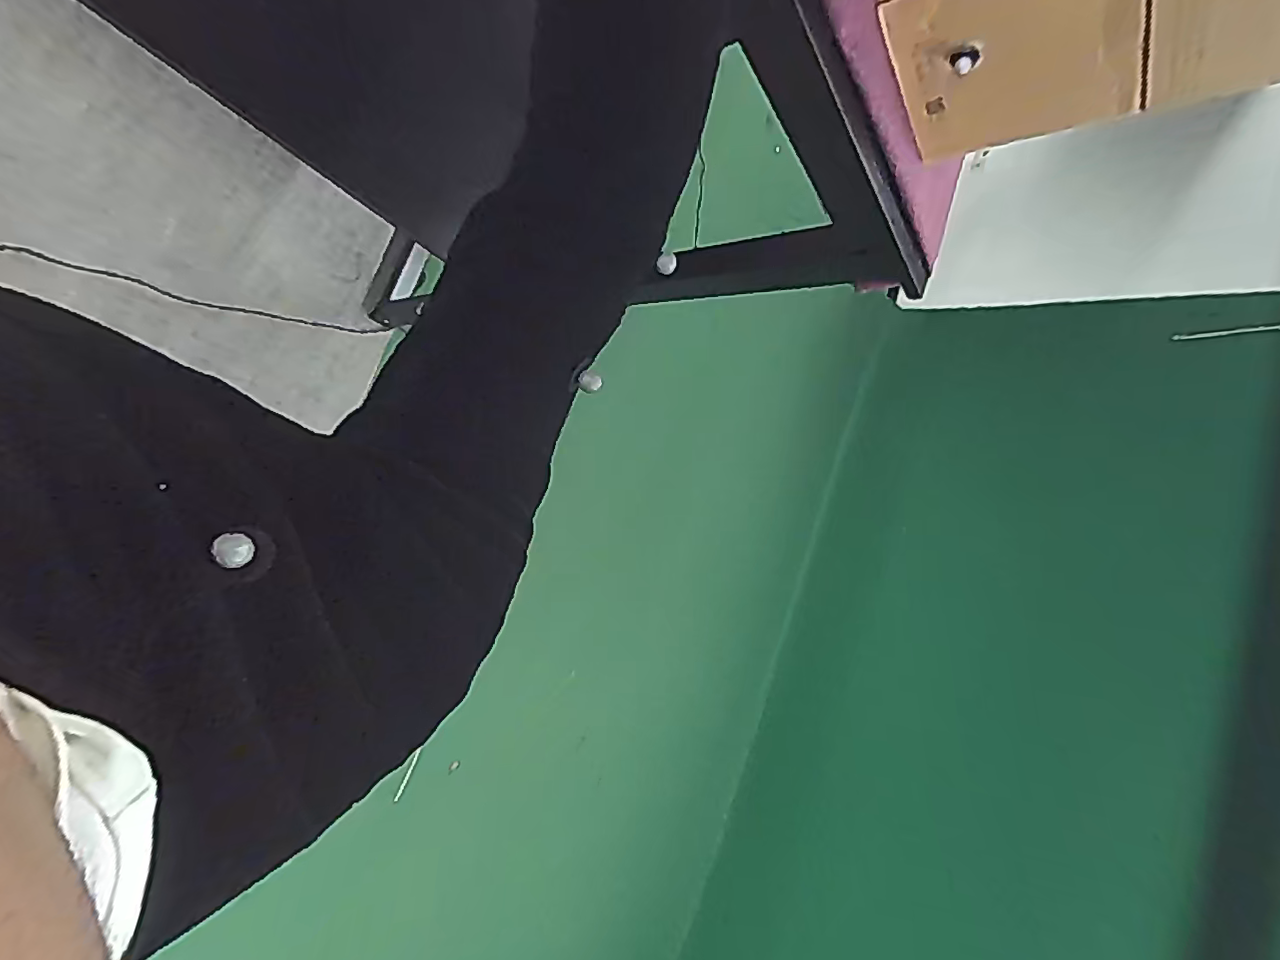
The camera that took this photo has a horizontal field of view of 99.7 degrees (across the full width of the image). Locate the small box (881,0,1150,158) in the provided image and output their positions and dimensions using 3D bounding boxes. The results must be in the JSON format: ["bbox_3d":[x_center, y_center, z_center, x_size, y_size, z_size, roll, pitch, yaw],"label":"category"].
[{"bbox_3d":[0.319,-0.410,0.444,0.168,0.176,0.179,30,78,-46],"label":"small box"}]

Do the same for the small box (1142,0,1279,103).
[{"bbox_3d":[0.431,-0.380,0.326,0.179,0.176,0.168,30,78,-45],"label":"small box"}]
